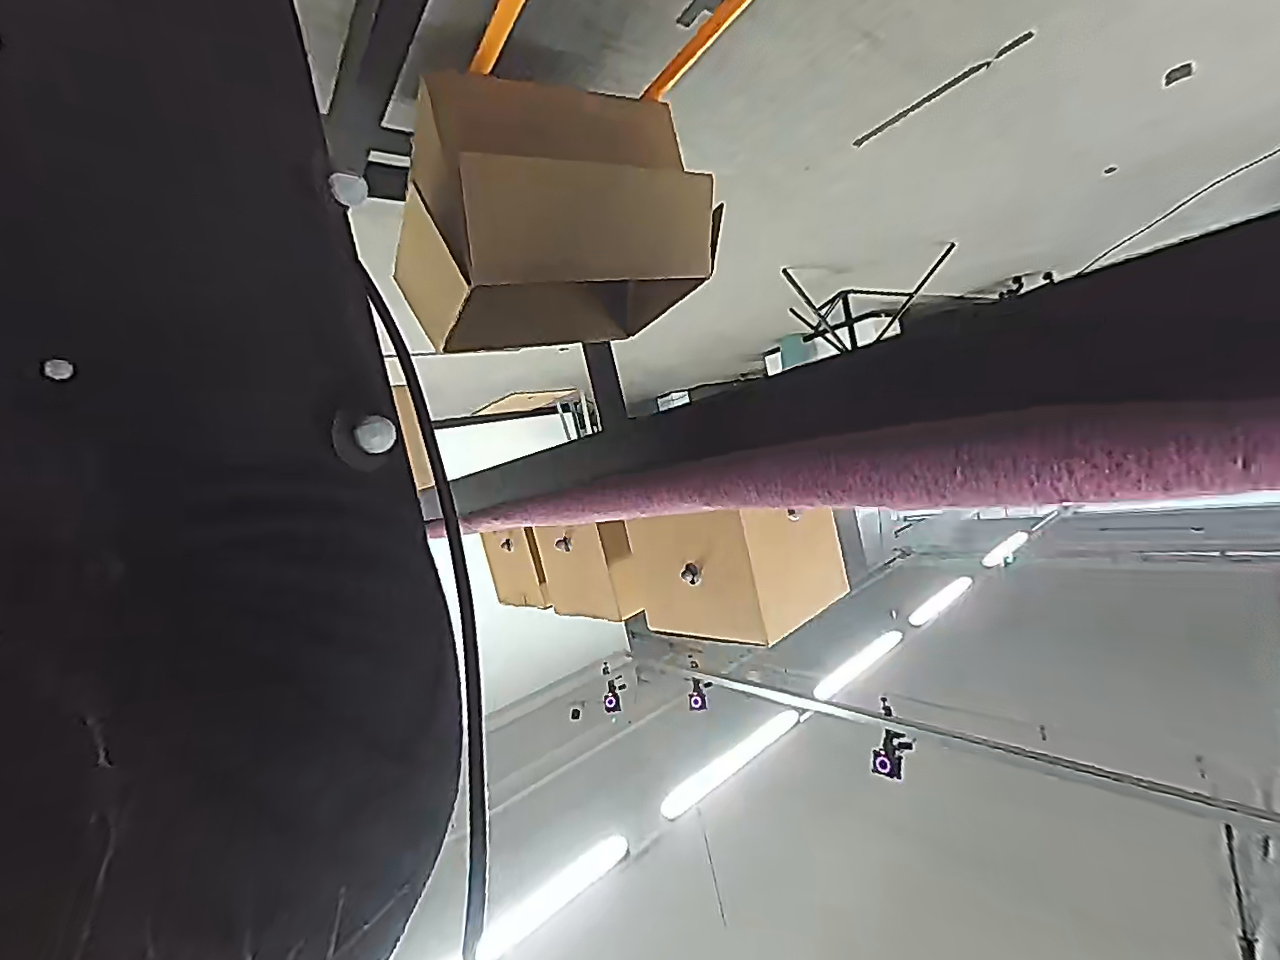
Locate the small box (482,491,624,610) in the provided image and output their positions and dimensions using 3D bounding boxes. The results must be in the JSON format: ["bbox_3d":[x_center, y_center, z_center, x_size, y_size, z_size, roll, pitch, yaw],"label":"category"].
[{"bbox_3d":[-0.161,0.122,0.986,0.179,0.176,0.168,-16,-177,-42],"label":"small box"}]

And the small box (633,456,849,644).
[{"bbox_3d":[0.109,0.072,0.624,0.168,0.176,0.179,-14,-179,-41],"label":"small box"}]
